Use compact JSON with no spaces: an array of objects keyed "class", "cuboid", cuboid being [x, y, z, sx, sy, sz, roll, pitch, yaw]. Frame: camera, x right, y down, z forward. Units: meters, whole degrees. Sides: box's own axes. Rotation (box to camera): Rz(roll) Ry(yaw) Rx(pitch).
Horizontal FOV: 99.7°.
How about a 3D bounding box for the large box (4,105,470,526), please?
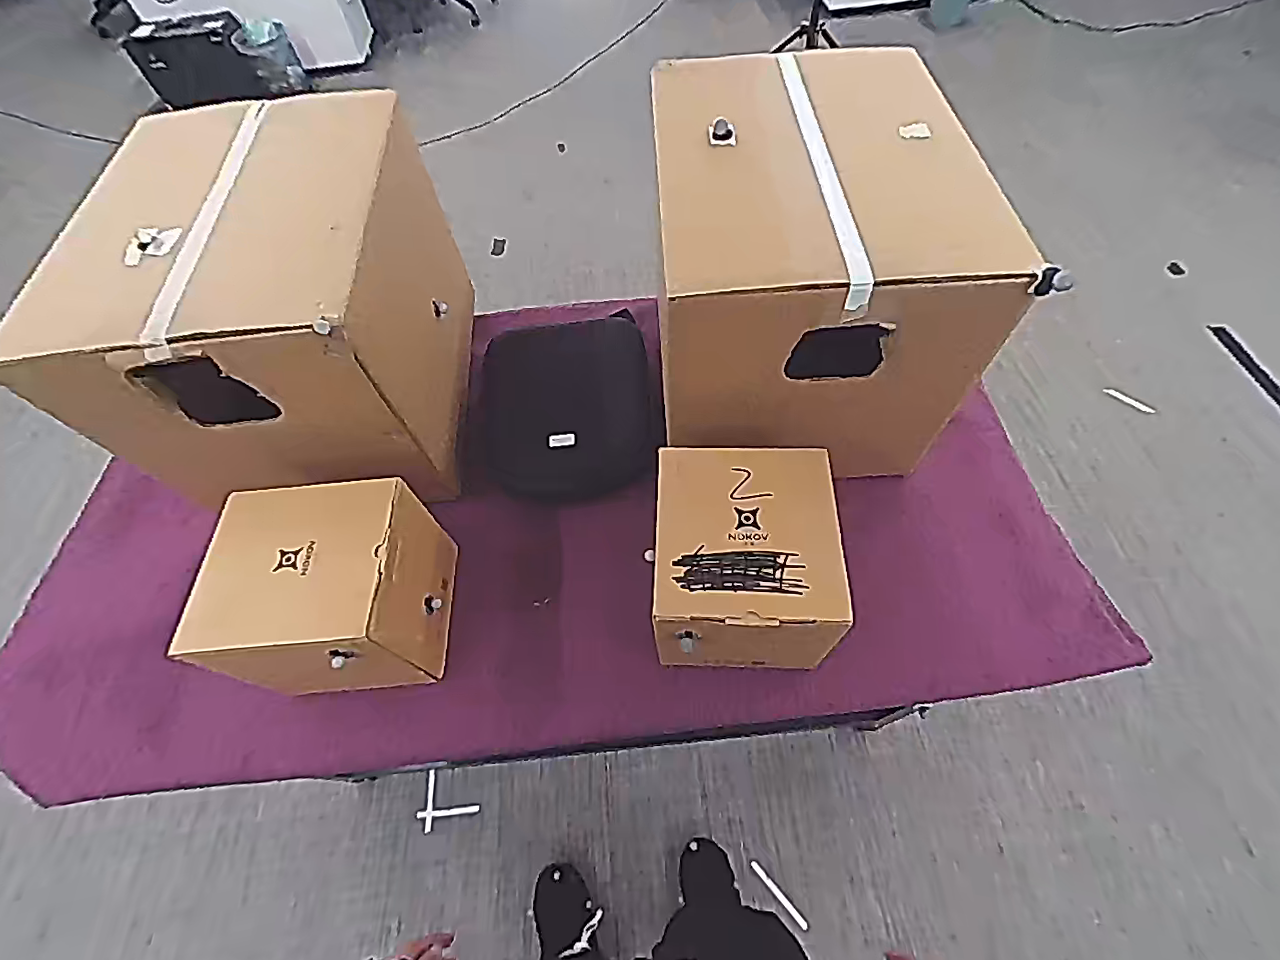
[{"class":"large box","cuboid":[-0.417,-0.198,0.692,0.320,0.320,0.408,-8,61,0]}]
